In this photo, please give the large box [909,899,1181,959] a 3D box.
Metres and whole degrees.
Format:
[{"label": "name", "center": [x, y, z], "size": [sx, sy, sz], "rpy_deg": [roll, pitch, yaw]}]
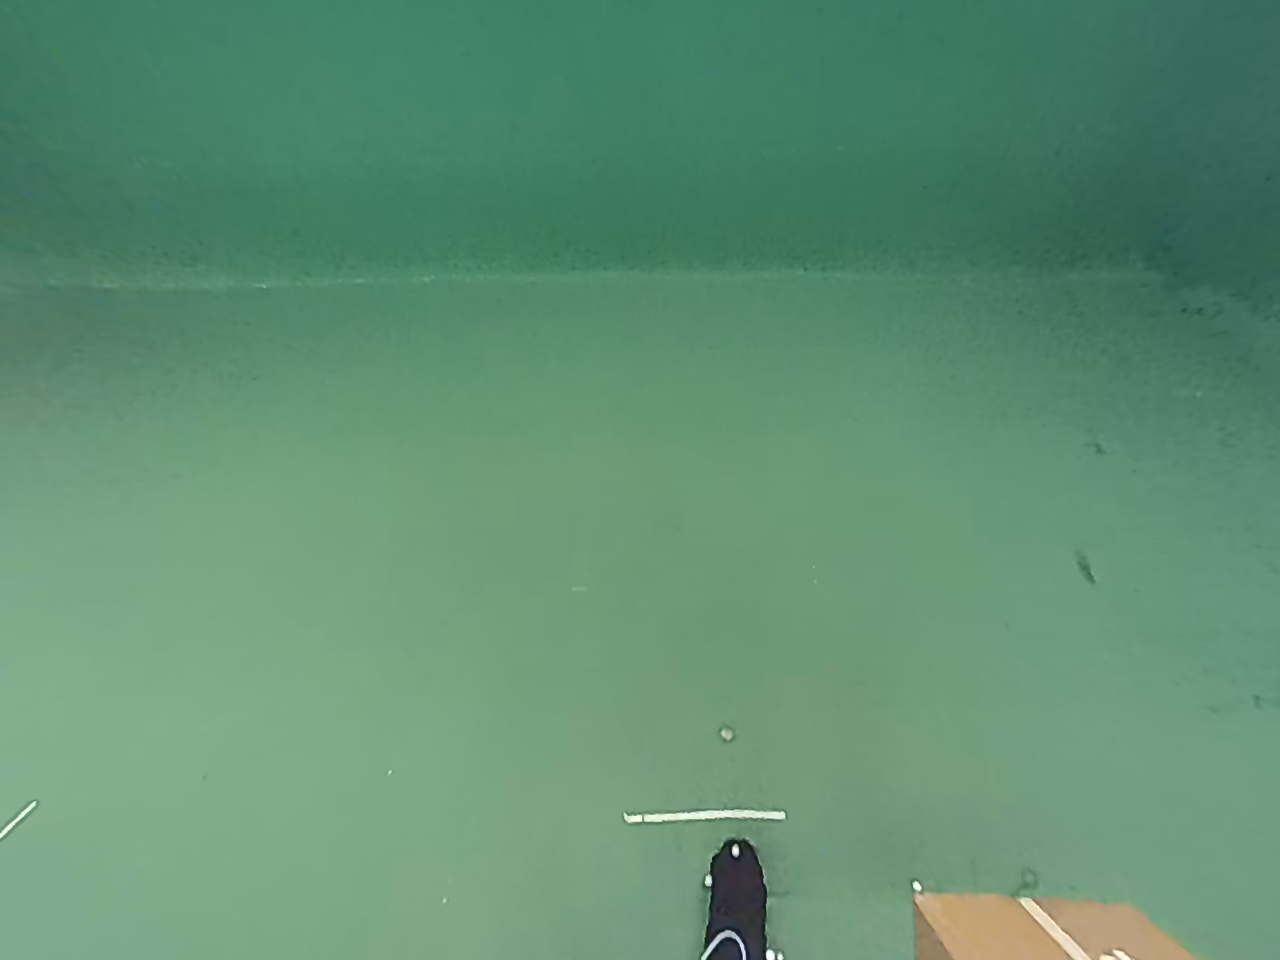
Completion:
[{"label": "large box", "center": [0.545, 0.759, 0.589], "size": [0.320, 0.408, 0.320], "rpy_deg": [1, 84, 3]}]
